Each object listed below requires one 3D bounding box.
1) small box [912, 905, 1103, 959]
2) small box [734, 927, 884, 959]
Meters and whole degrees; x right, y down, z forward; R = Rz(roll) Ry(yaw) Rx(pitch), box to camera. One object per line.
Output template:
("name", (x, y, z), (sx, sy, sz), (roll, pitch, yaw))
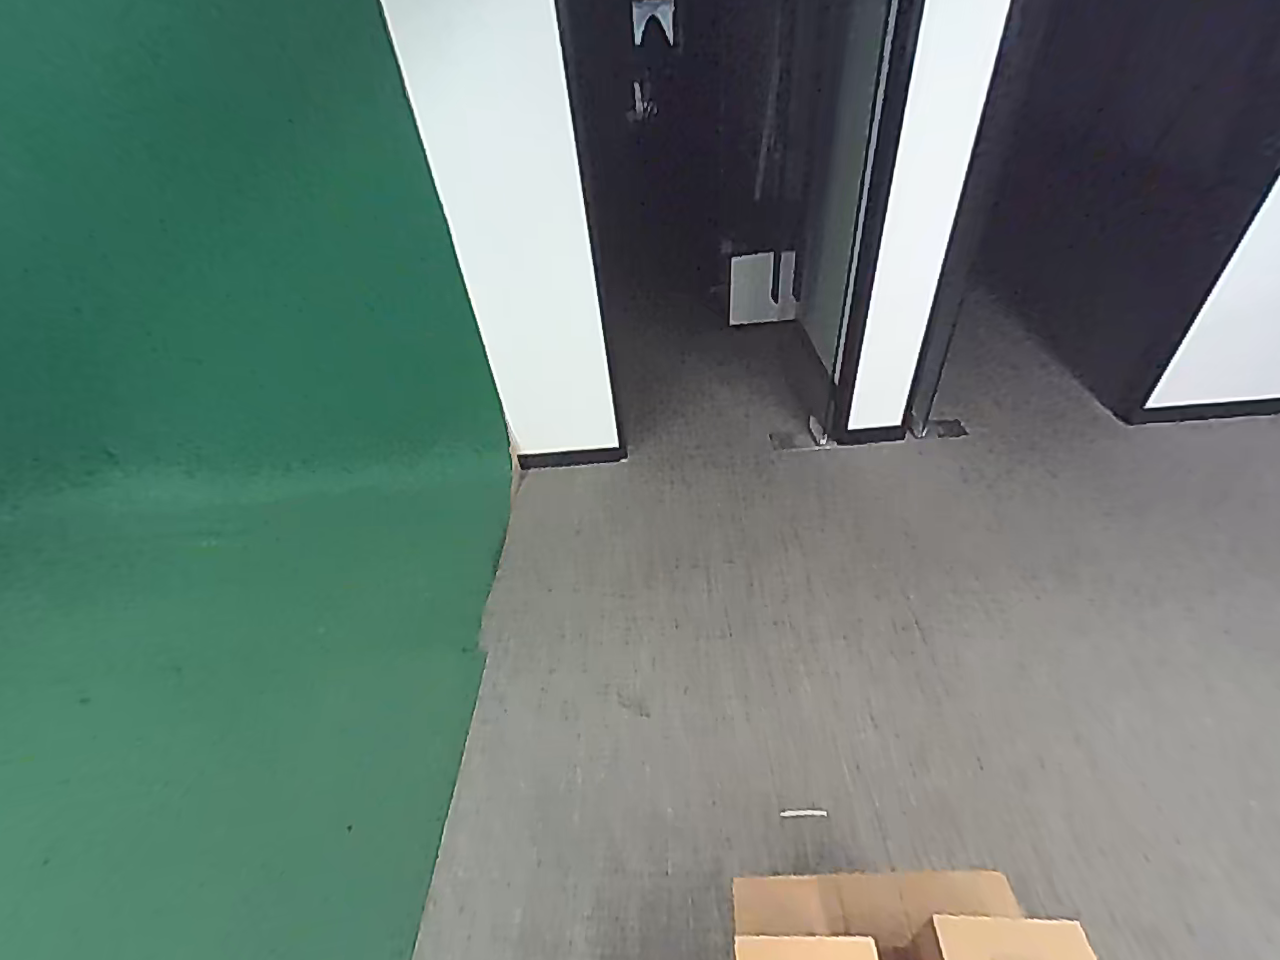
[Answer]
("small box", (0.438, 0.624, 0.625), (0.168, 0.176, 0.179), (-3, 39, 7))
("small box", (0.202, 0.652, 0.631), (0.168, 0.176, 0.179), (-3, 42, 3))
